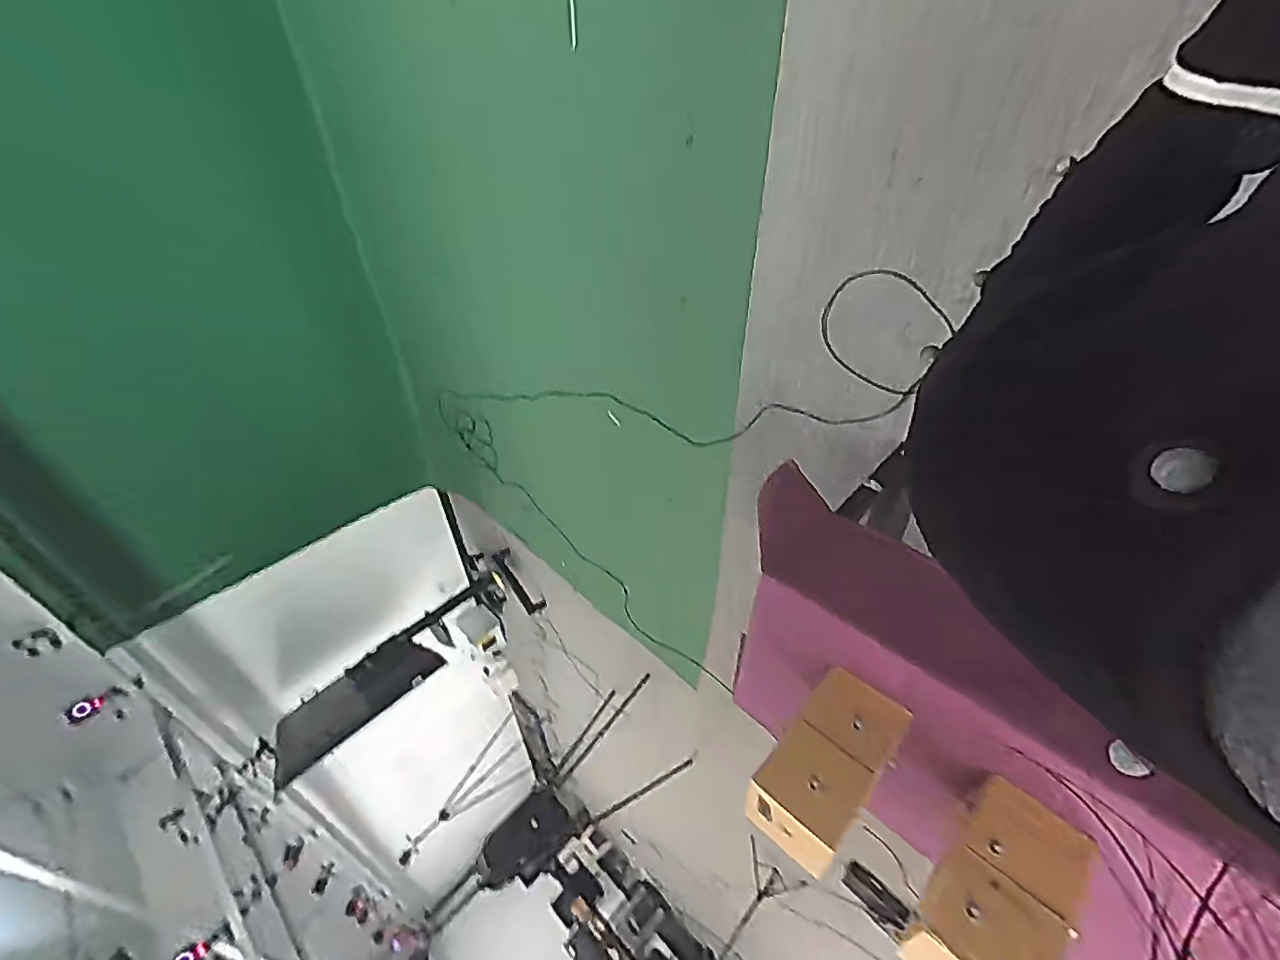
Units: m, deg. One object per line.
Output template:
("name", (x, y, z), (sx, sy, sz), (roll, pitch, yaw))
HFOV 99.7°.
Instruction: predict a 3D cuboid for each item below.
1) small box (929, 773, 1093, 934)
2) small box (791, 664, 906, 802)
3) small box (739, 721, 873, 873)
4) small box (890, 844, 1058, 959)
("small box", (0.673, 0.682, 0.985), (0.179, 0.176, 0.168), (34, 141, 32))
("small box", (0.435, 0.531, 1.151), (0.179, 0.176, 0.168), (29, 138, 33))
("small box", (0.321, 0.606, 1.058), (0.179, 0.176, 0.168), (30, 139, 33))
("small box", (0.554, 0.755, 0.900), (0.168, 0.176, 0.179), (33, 141, 33))
